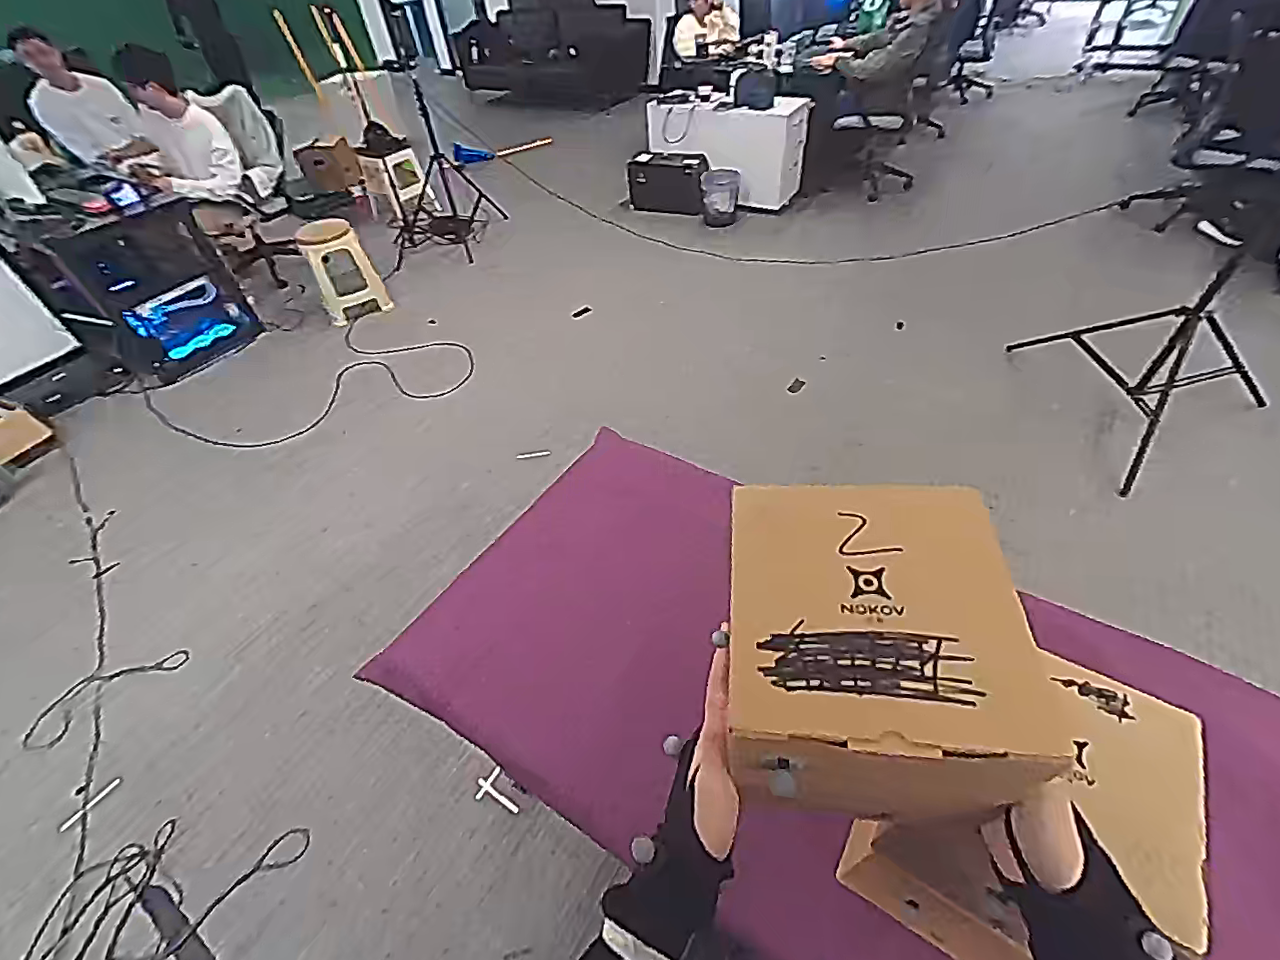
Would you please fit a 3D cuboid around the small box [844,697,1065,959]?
[{"bbox_3d":[0.336,0.381,0.584,0.168,0.176,0.179,23,52,25],"label":"small box"}]

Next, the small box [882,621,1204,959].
[{"bbox_3d":[0.329,0.265,0.468,0.168,0.176,0.179,24,53,25],"label":"small box"}]
